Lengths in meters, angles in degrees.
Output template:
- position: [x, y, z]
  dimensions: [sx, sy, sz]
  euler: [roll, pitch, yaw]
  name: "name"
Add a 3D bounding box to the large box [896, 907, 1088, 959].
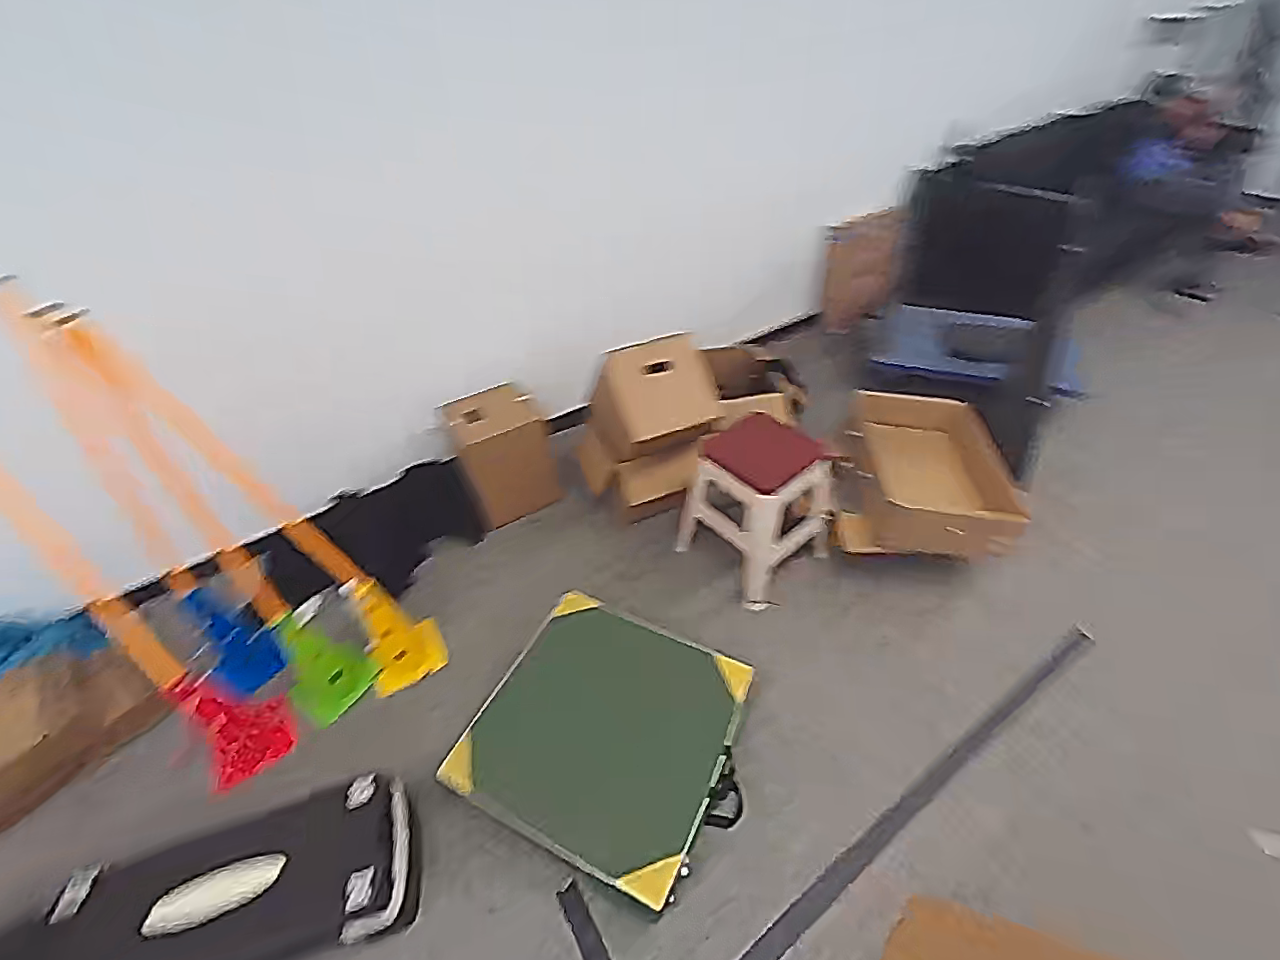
- position: [0.471, 0.744, 0.550]
  dimensions: [0.320, 0.408, 0.320]
  euler: [45, 62, 10]
  name: "large box"
